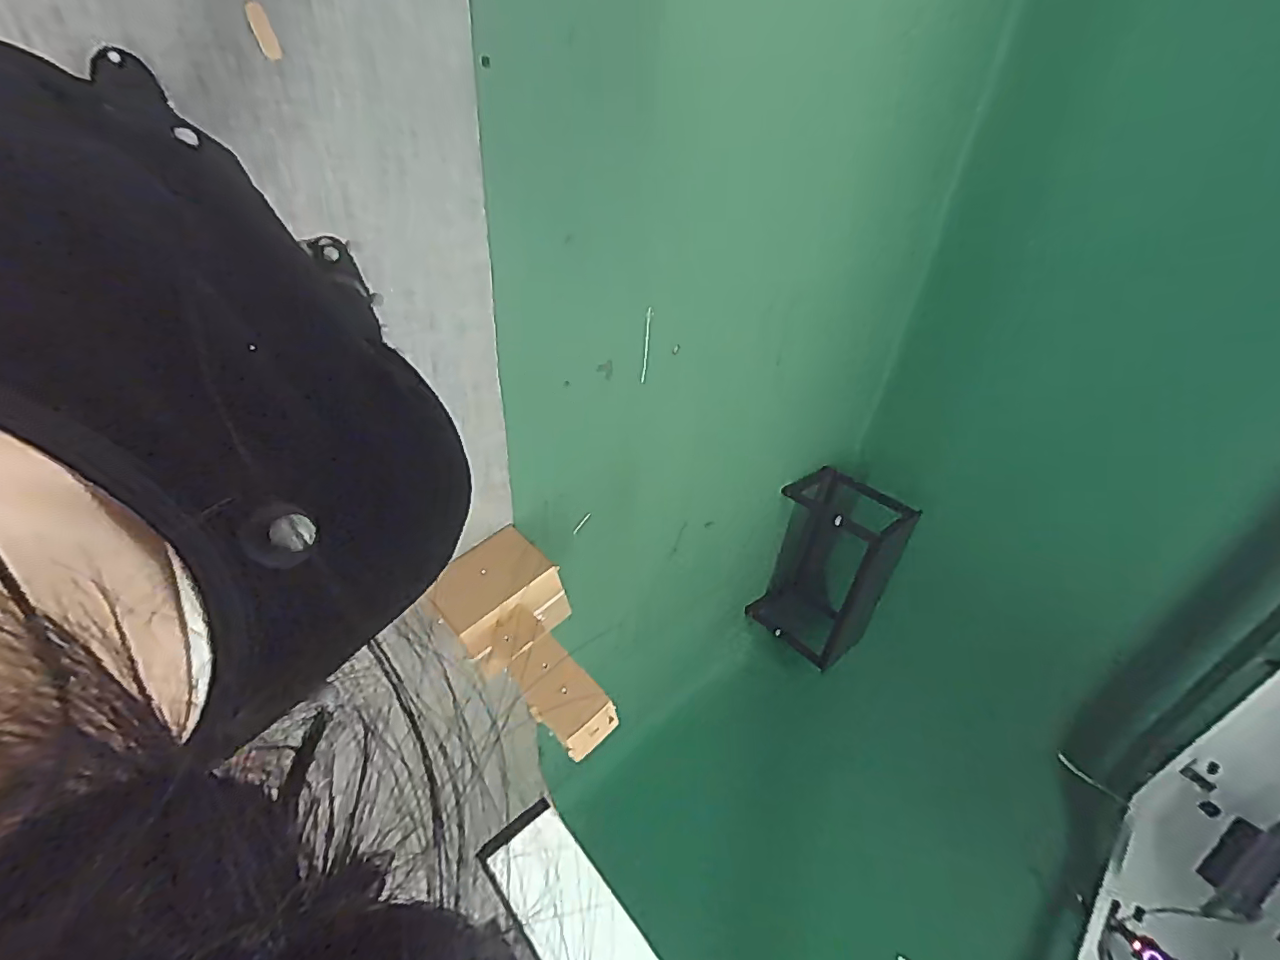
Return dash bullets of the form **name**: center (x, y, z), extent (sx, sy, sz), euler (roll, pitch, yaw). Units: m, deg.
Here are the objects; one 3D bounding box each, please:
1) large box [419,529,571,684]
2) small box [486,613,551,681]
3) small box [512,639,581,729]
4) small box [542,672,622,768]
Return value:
- **large box**: center (-0.535, 0.465, 2.034), extent (0.408, 0.320, 0.320), euler (-37, 140, -26)
- **small box**: center (-0.403, 0.586, 1.862), extent (0.168, 0.176, 0.179), euler (-35, 138, -26)
- **small box**: center (-0.296, 0.663, 1.765), extent (0.179, 0.176, 0.168), euler (-36, 139, -25)
- **small box**: center (-0.184, 0.736, 1.670), extent (0.179, 0.176, 0.168), euler (-34, 138, -25)
